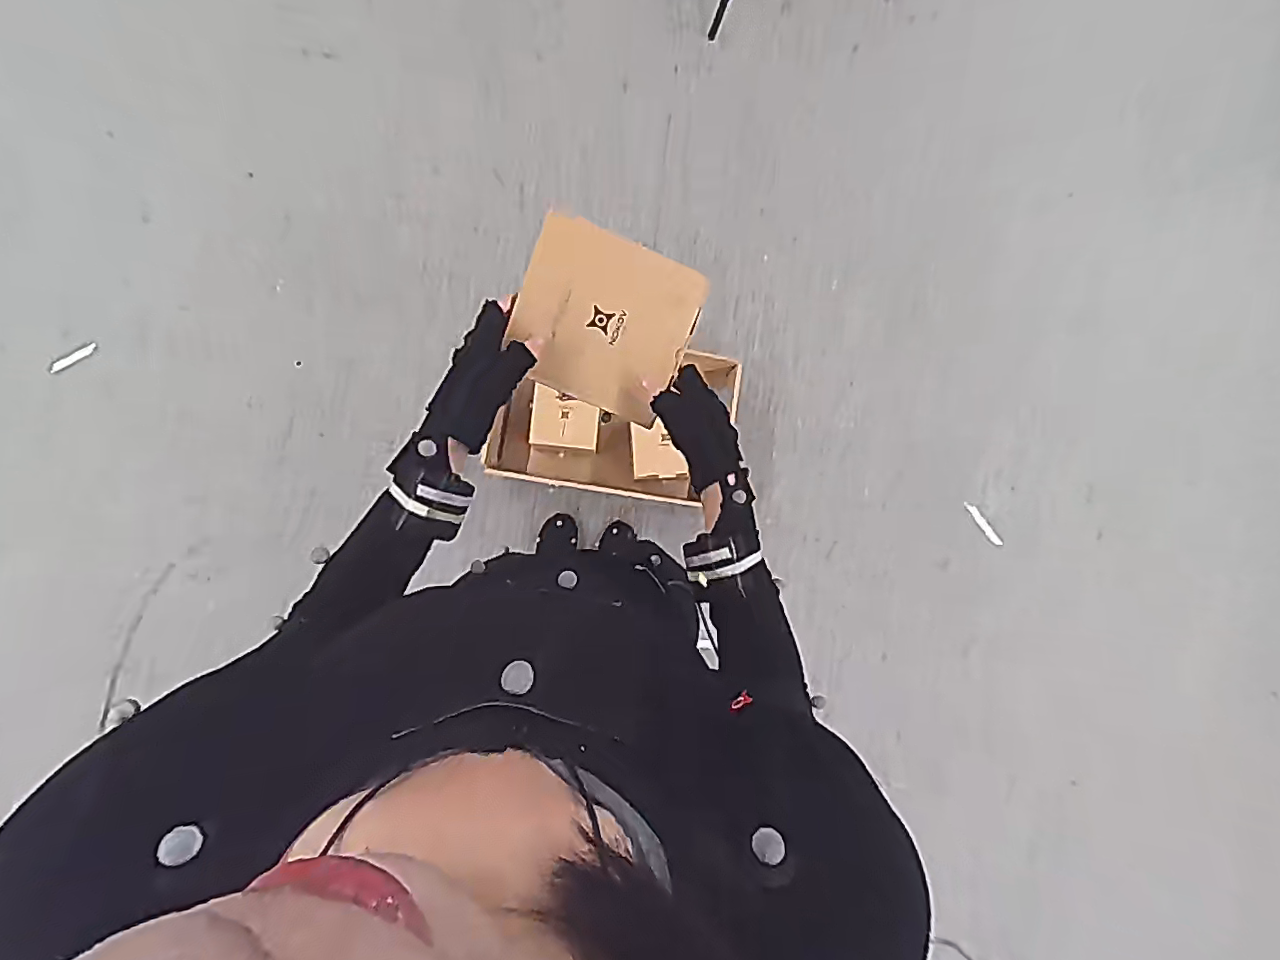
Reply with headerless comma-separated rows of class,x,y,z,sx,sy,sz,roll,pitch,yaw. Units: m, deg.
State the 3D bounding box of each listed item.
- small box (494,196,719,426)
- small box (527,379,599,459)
small box,-0.040,-0.173,0.596,0.179,0.176,0.168,20,97,-10
small box,-0.194,-0.158,1.404,0.168,0.176,0.179,6,86,-5
